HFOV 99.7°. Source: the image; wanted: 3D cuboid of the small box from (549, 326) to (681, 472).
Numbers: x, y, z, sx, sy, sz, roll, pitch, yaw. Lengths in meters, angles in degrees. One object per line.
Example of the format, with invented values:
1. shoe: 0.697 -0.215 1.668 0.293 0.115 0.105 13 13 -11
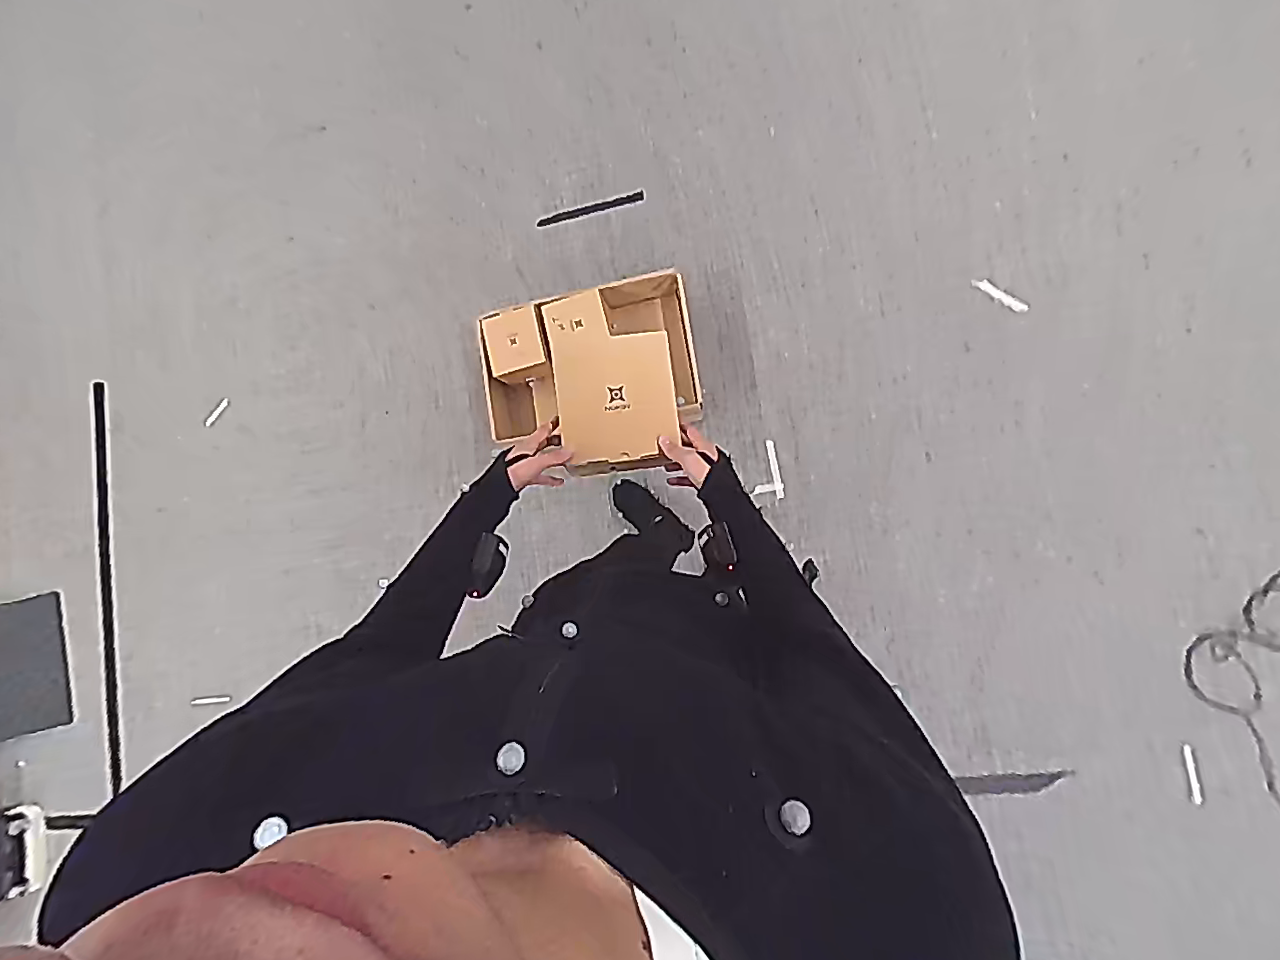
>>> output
1. small box: -0.040 -0.113 0.815 0.168 0.176 0.179 -8 88 -4

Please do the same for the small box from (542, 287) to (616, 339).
1. small box: -0.164 -0.436 1.584 0.179 0.176 0.168 -15 85 8
